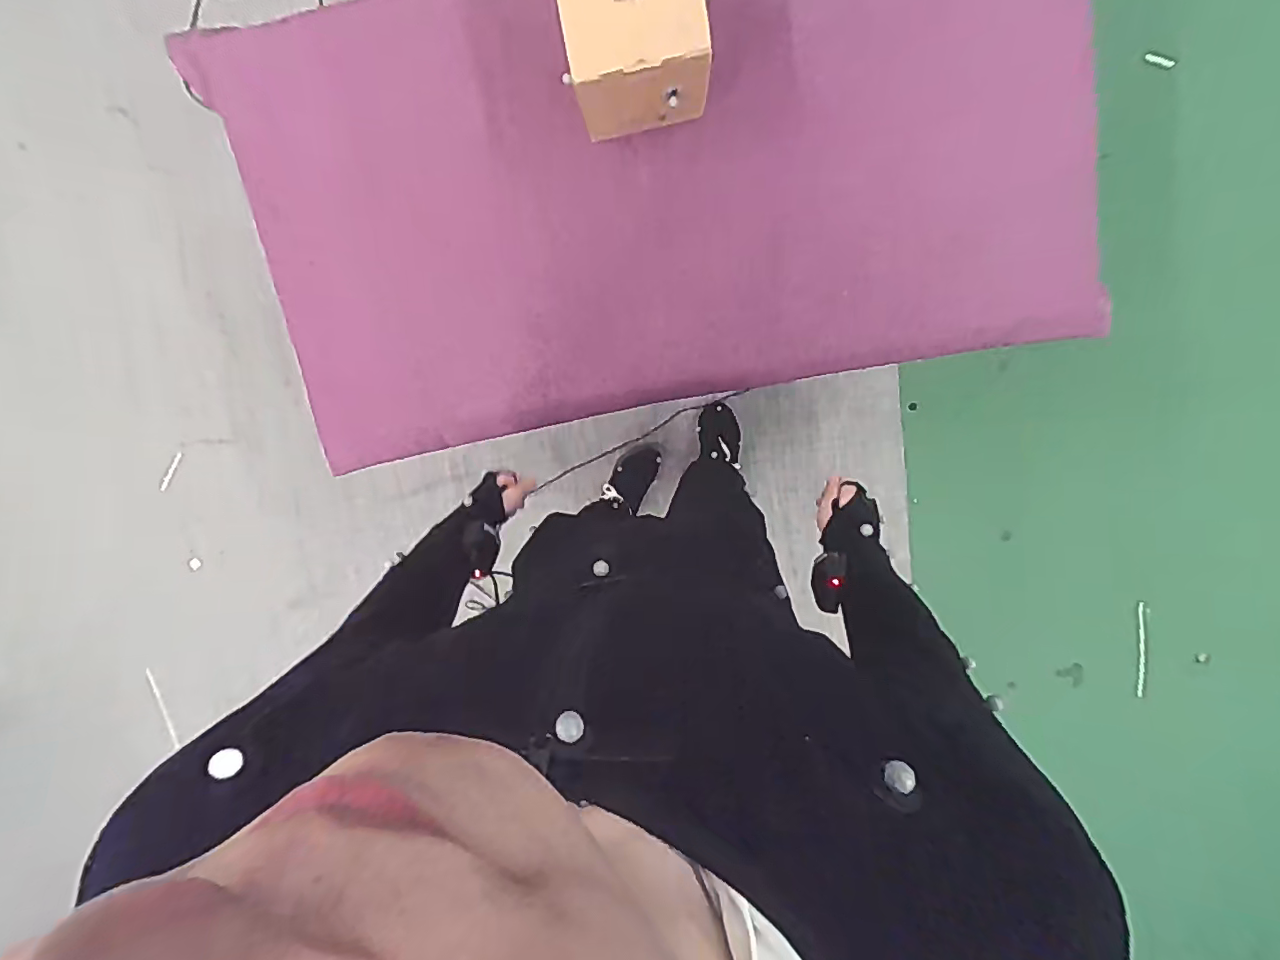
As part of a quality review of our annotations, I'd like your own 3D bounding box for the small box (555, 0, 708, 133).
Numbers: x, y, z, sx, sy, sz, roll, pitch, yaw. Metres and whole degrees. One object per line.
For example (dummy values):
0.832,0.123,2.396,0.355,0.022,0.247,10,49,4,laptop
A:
-0.011,-0.569,0.680,0.168,0.176,0.179,-11,100,5,small box
